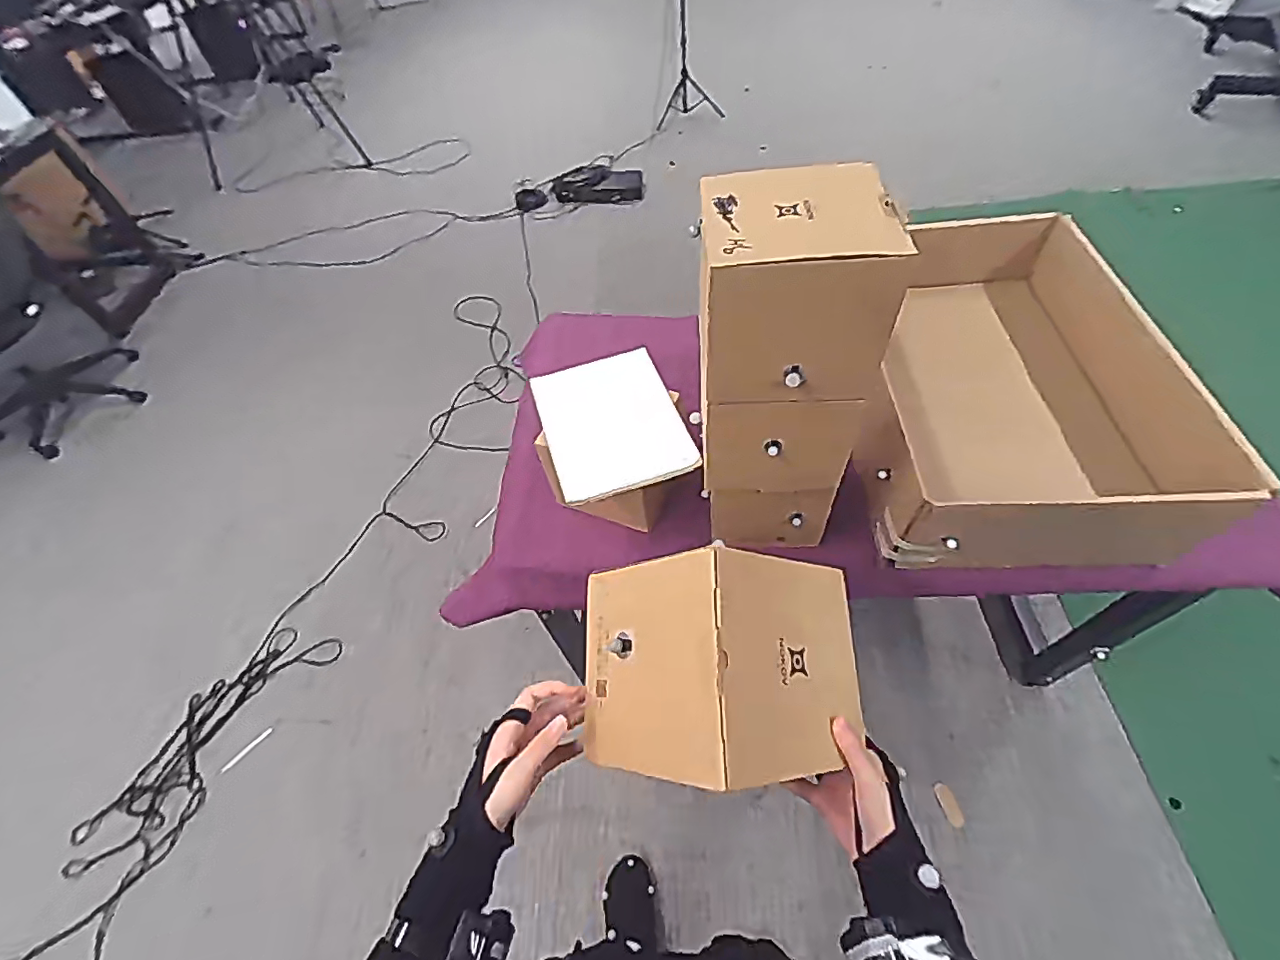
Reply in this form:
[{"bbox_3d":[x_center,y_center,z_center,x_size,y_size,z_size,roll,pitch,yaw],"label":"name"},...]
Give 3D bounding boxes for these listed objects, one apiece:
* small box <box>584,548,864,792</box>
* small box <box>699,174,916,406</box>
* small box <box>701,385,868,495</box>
[{"bbox_3d":[0.071,0.165,0.486,0.179,0.176,0.168,15,66,-35],"label":"small box"},{"bbox_3d":[0.153,-0.192,0.566,0.179,0.176,0.168,-1,52,5],"label":"small box"},{"bbox_3d":[0.170,-0.093,0.697,0.179,0.176,0.168,-2,52,6],"label":"small box"}]
